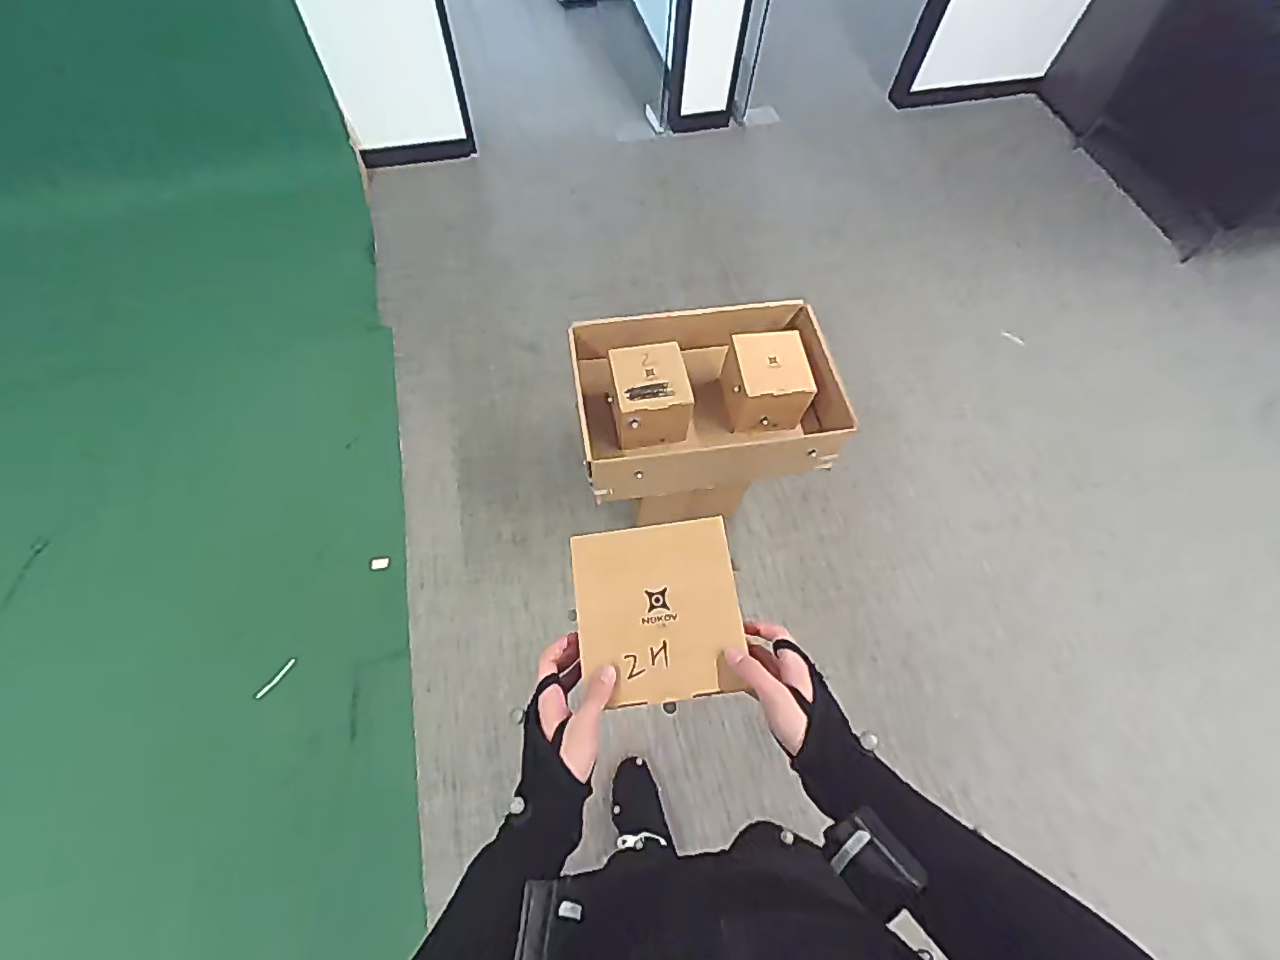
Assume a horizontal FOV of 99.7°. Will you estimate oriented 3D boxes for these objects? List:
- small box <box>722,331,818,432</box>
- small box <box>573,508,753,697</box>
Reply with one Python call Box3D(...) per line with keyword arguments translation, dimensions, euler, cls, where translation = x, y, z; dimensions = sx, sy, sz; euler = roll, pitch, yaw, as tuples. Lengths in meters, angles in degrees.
Box3D(translation=(0.304, -0.237, 1.312), dimensions=(0.168, 0.176, 0.179), euler=(-6, 65, -6), cls="small box")
Box3D(translation=(0.021, 0.147, 0.617), dimensions=(0.168, 0.176, 0.179), euler=(-7, 69, 0), cls="small box")
